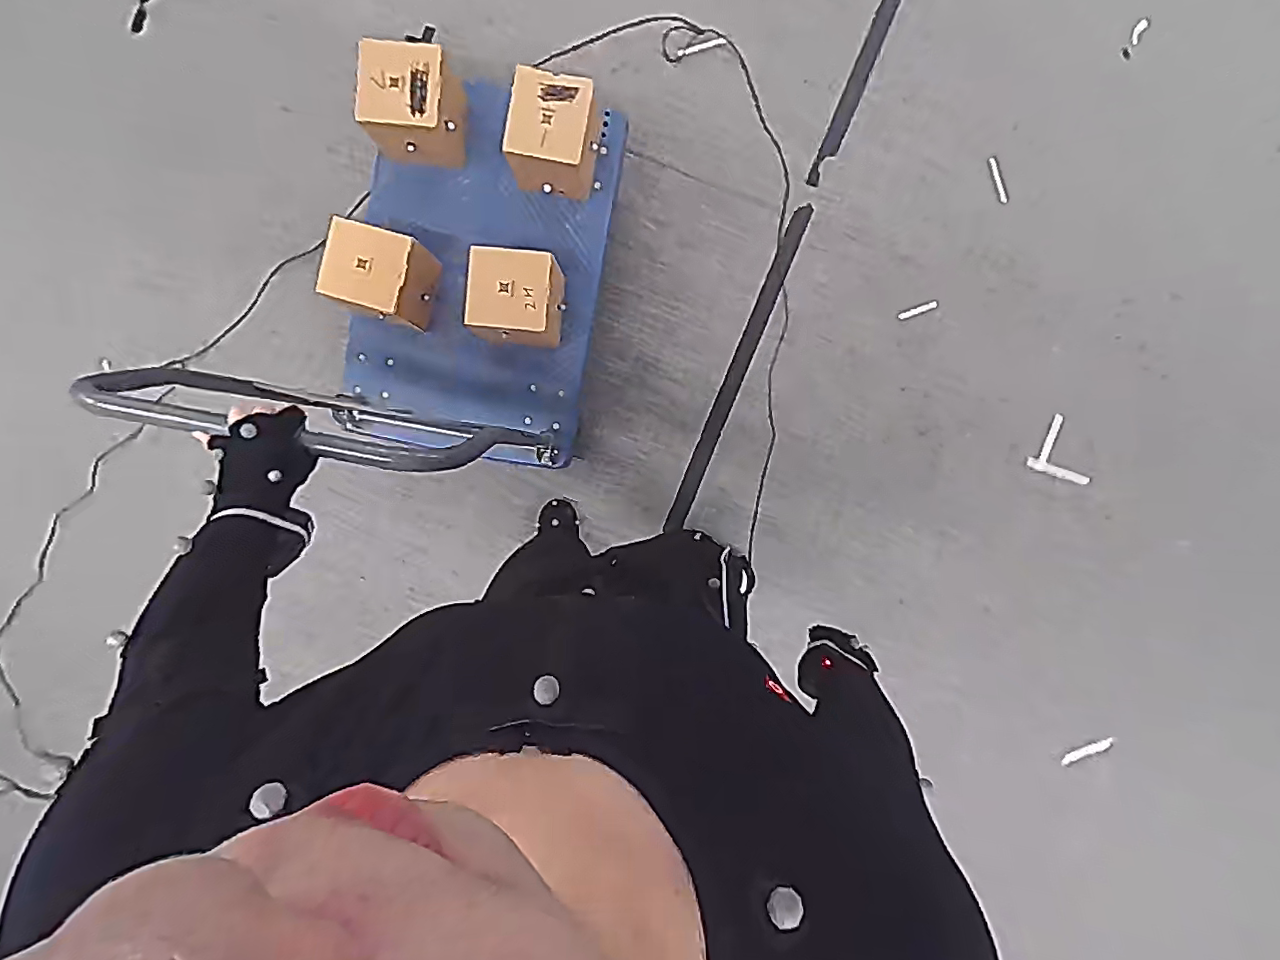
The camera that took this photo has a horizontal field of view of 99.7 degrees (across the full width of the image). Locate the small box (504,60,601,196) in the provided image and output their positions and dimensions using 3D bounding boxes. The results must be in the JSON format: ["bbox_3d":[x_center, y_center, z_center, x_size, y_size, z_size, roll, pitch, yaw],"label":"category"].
[{"bbox_3d":[-0.183,-0.760,1.184,0.168,0.176,0.179,12,95,0],"label":"small box"}]

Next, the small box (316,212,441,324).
[{"bbox_3d":[-0.576,-0.464,1.210,0.179,0.176,0.168,15,93,-1],"label":"small box"}]

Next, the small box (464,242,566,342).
[{"bbox_3d":[-0.273,-0.411,1.207,0.179,0.176,0.168,6,94,1],"label":"small box"}]
